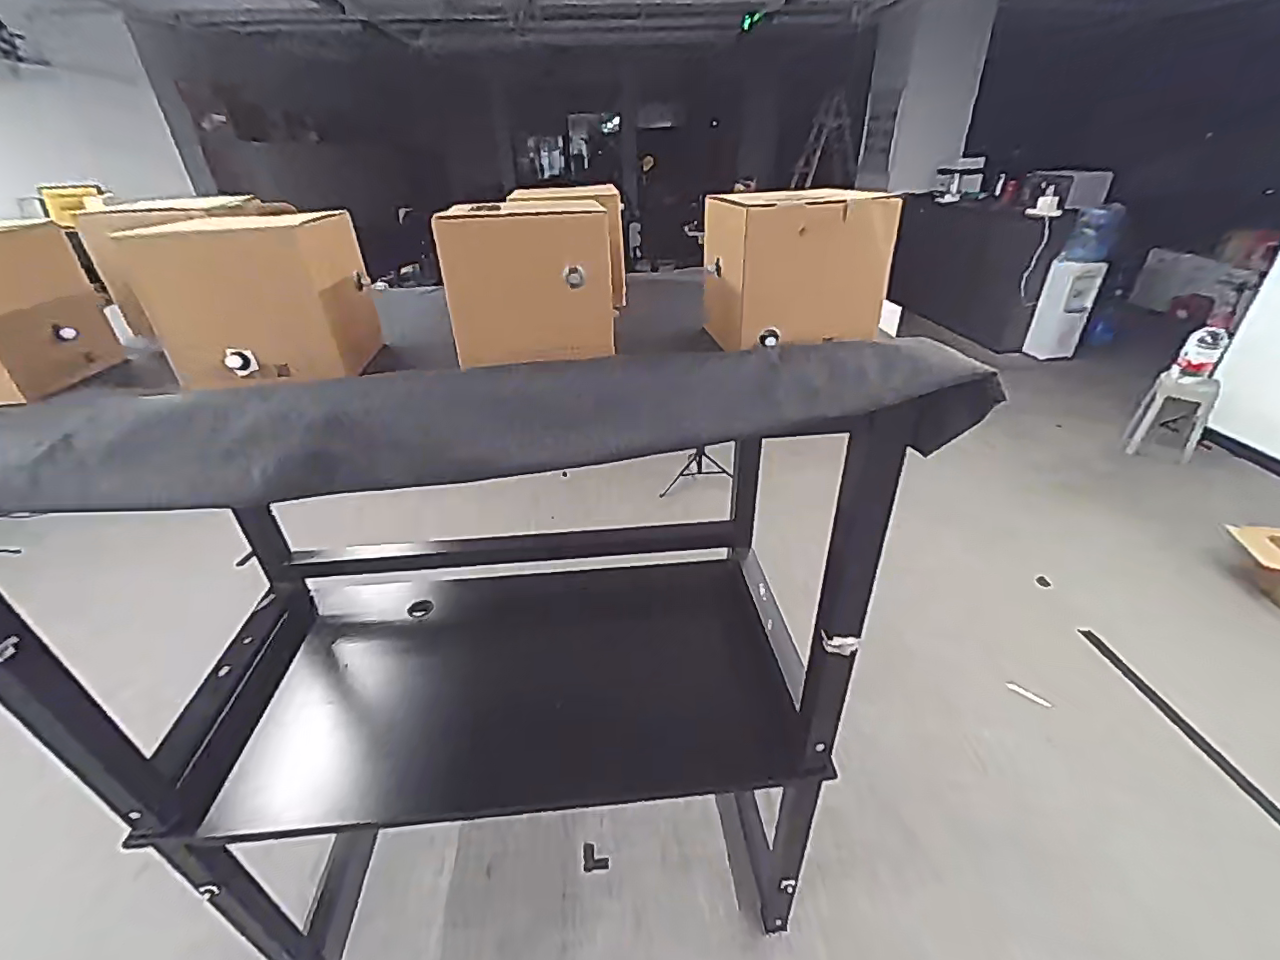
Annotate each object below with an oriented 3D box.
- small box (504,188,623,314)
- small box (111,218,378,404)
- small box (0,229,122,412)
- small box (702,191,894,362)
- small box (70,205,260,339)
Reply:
[{"bbox_3d":[-0.120,-0.377,0.893,0.168,0.176,0.179,-5,32,-4],"label":"small box"},{"bbox_3d":[-0.420,-0.198,0.618,0.168,0.176,0.179,-7,31,-7],"label":"small box"},{"bbox_3d":[-0.750,-0.173,0.593,0.179,0.176,0.168,-6,31,-7],"label":"small box"},{"bbox_3d":[0.174,-0.245,0.654,0.168,0.176,0.179,-6,30,-6],"label":"small box"},{"bbox_3d":[-0.693,-0.327,0.845,0.179,0.176,0.168,-5,32,-6],"label":"small box"}]
